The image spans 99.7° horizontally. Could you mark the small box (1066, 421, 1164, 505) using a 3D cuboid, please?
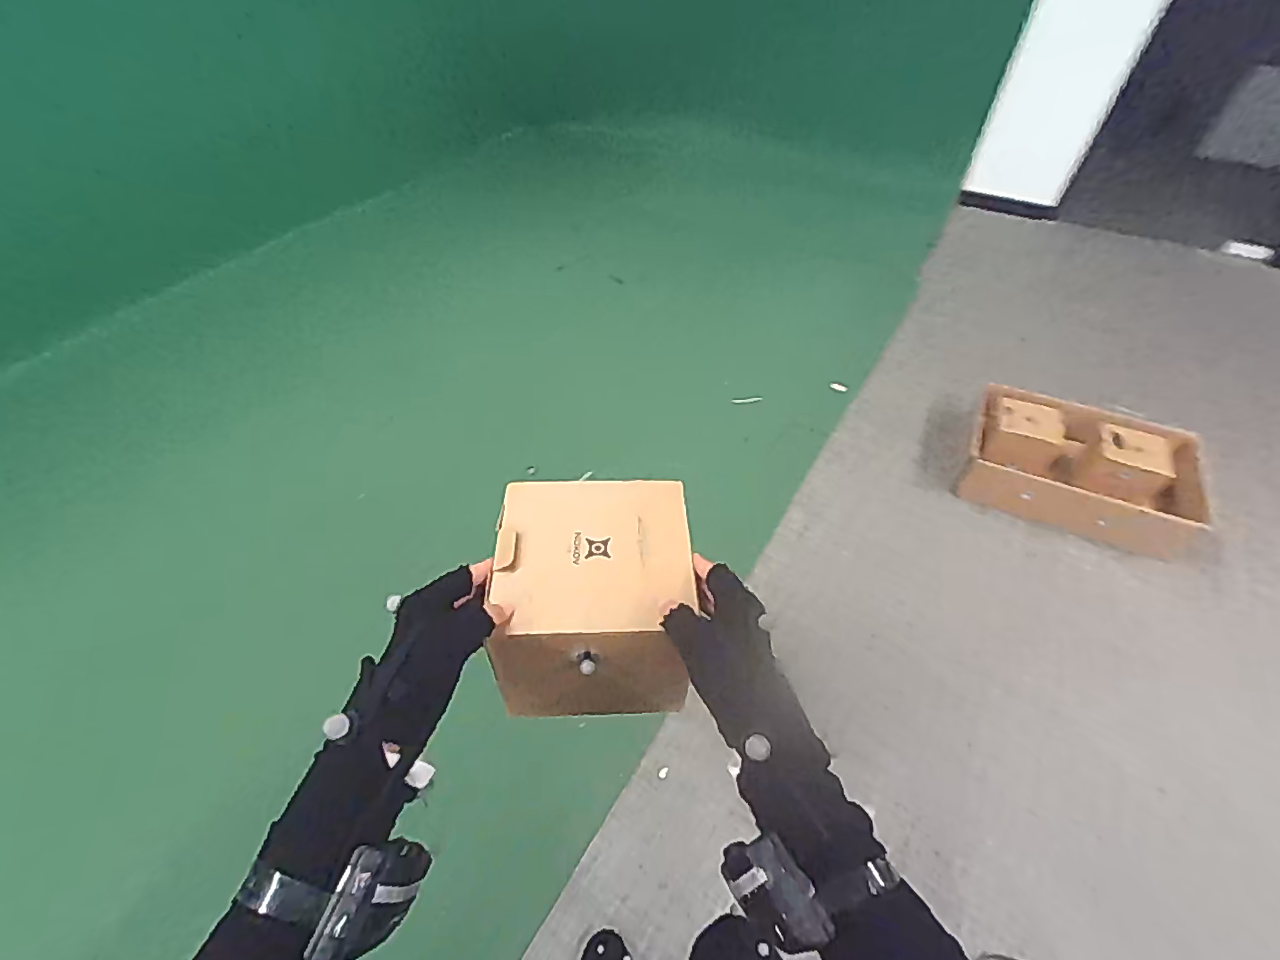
[{"bbox_3d":[1.470,-0.049,1.685,0.179,0.176,0.168,22,55,18],"label":"small box"}]

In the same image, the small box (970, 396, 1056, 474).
[{"bbox_3d":[1.217,-0.142,1.769,0.179,0.176,0.168,19,53,15],"label":"small box"}]
